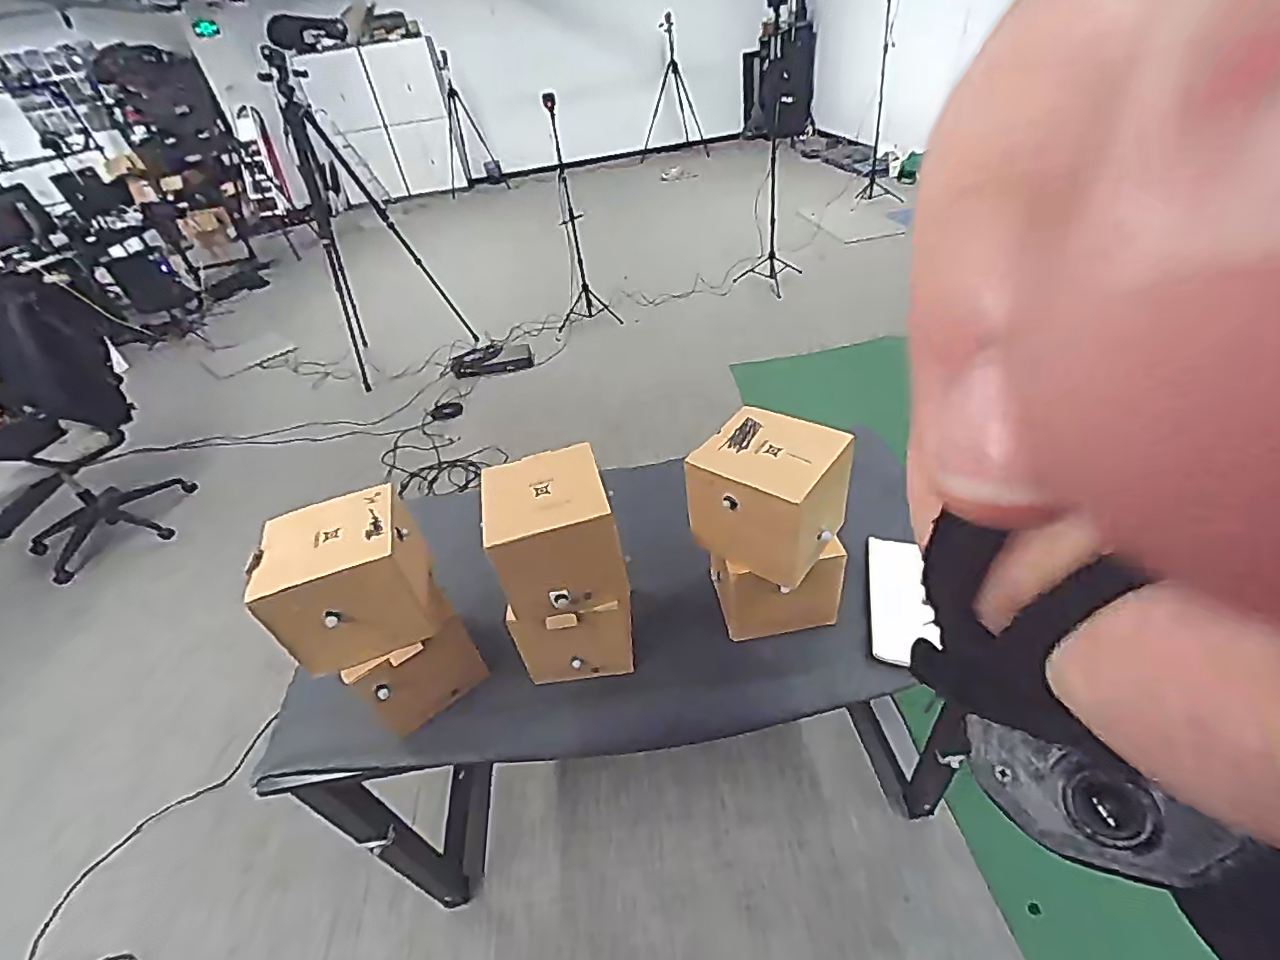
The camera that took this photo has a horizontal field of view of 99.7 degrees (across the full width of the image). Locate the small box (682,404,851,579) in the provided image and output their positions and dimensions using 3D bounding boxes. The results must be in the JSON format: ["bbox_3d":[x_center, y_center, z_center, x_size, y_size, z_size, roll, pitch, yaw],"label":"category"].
[{"bbox_3d":[0.183,0.015,0.792,0.179,0.176,0.168,23,50,34],"label":"small box"}]

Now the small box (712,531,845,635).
[{"bbox_3d":[0.219,0.133,0.902,0.179,0.176,0.168,-12,38,0],"label":"small box"}]

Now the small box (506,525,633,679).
[{"bbox_3d":[-0.106,0.199,0.891,0.168,0.176,0.179,-9,38,3],"label":"small box"}]

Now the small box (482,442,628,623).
[{"bbox_3d":[-0.124,0.074,0.789,0.168,0.176,0.179,-16,39,-6],"label":"small box"}]

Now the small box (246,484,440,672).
[{"bbox_3d":[-0.406,0.139,0.769,0.179,0.176,0.168,-20,40,-10],"label":"small box"}]
